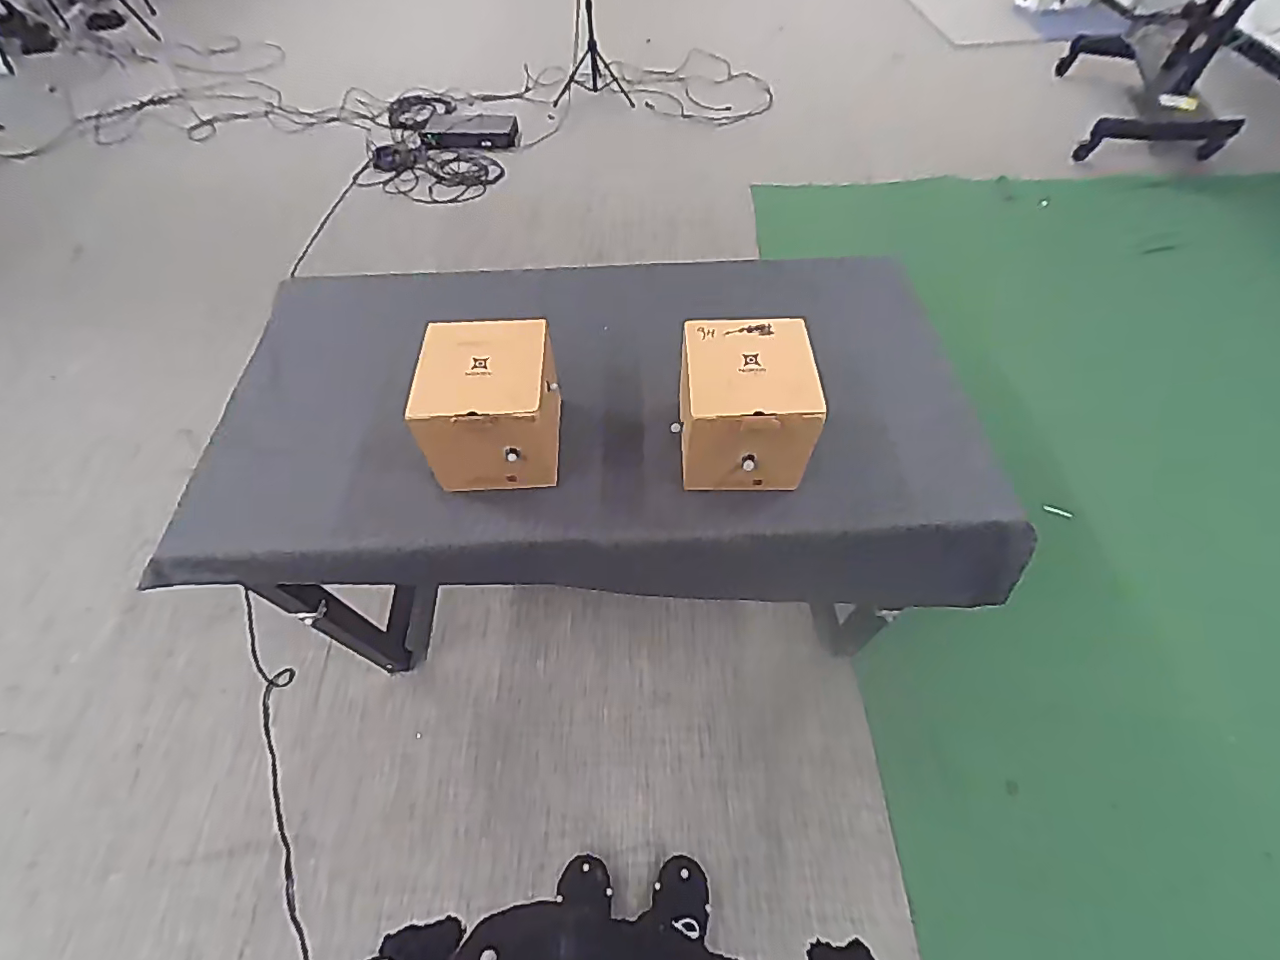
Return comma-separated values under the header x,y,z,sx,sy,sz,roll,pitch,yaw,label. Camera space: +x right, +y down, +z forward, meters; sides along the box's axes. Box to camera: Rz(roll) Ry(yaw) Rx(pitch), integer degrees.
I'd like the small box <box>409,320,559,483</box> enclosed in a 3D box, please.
x,y,z,sx,sy,sz,roll,pitch,yaw,label
-0.209,-0.106,0.781,0.168,0.176,0.179,-2,55,-2,small box

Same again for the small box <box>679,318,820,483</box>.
x,y,z,sx,sy,sz,roll,pitch,yaw,label
0.142,-0.107,0.773,0.168,0.176,0.179,-1,57,1,small box
